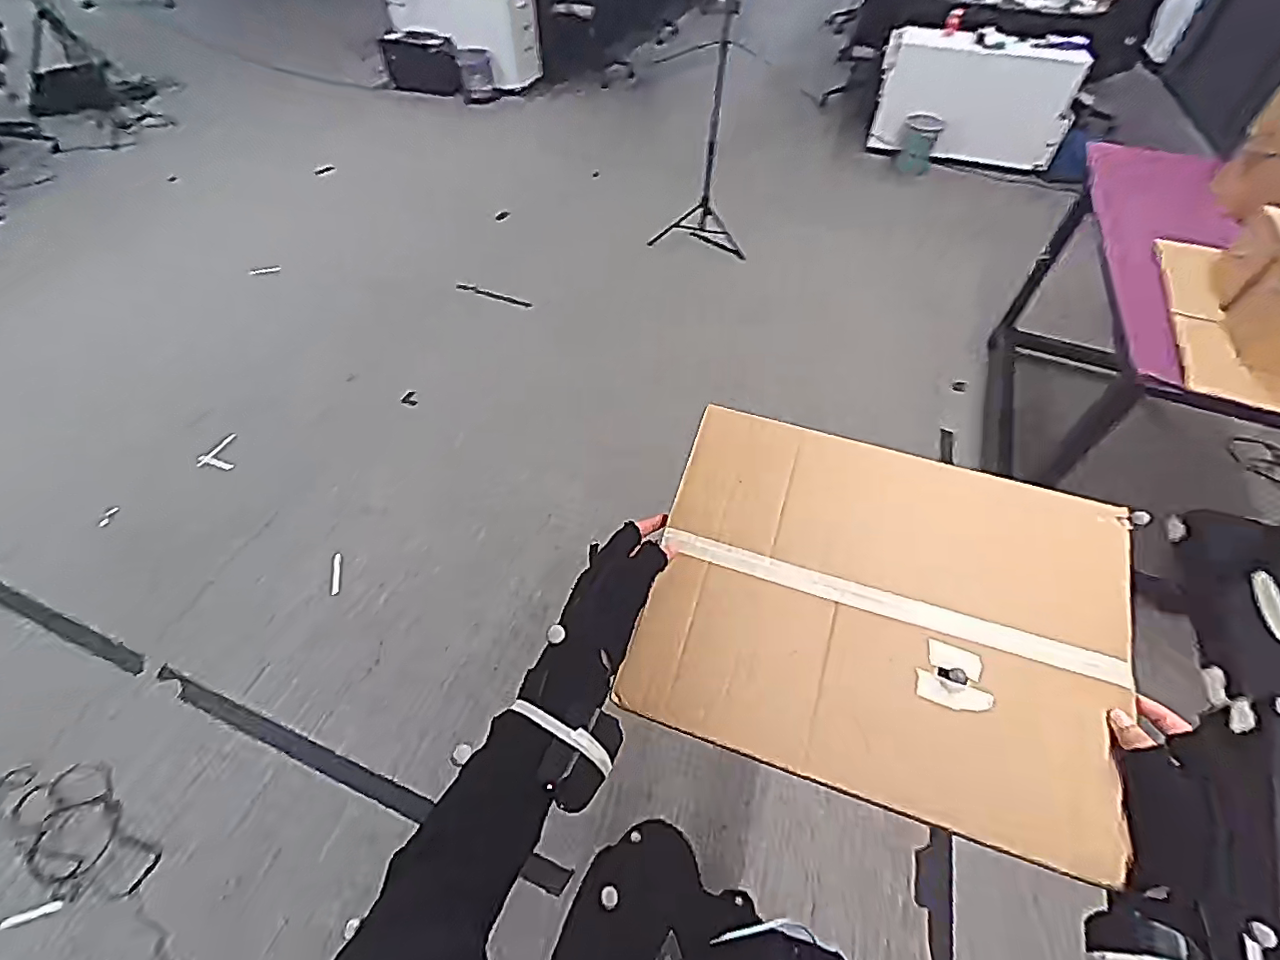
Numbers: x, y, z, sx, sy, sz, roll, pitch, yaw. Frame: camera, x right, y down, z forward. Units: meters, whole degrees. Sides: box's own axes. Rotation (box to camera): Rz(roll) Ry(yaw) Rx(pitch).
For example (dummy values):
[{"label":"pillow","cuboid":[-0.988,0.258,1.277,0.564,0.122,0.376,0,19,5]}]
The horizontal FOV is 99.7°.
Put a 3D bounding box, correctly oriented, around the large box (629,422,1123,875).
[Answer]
[{"label":"large box","cuboid":[0.229,0.178,0.632,0.408,0.320,0.320,16,69,11]}]
